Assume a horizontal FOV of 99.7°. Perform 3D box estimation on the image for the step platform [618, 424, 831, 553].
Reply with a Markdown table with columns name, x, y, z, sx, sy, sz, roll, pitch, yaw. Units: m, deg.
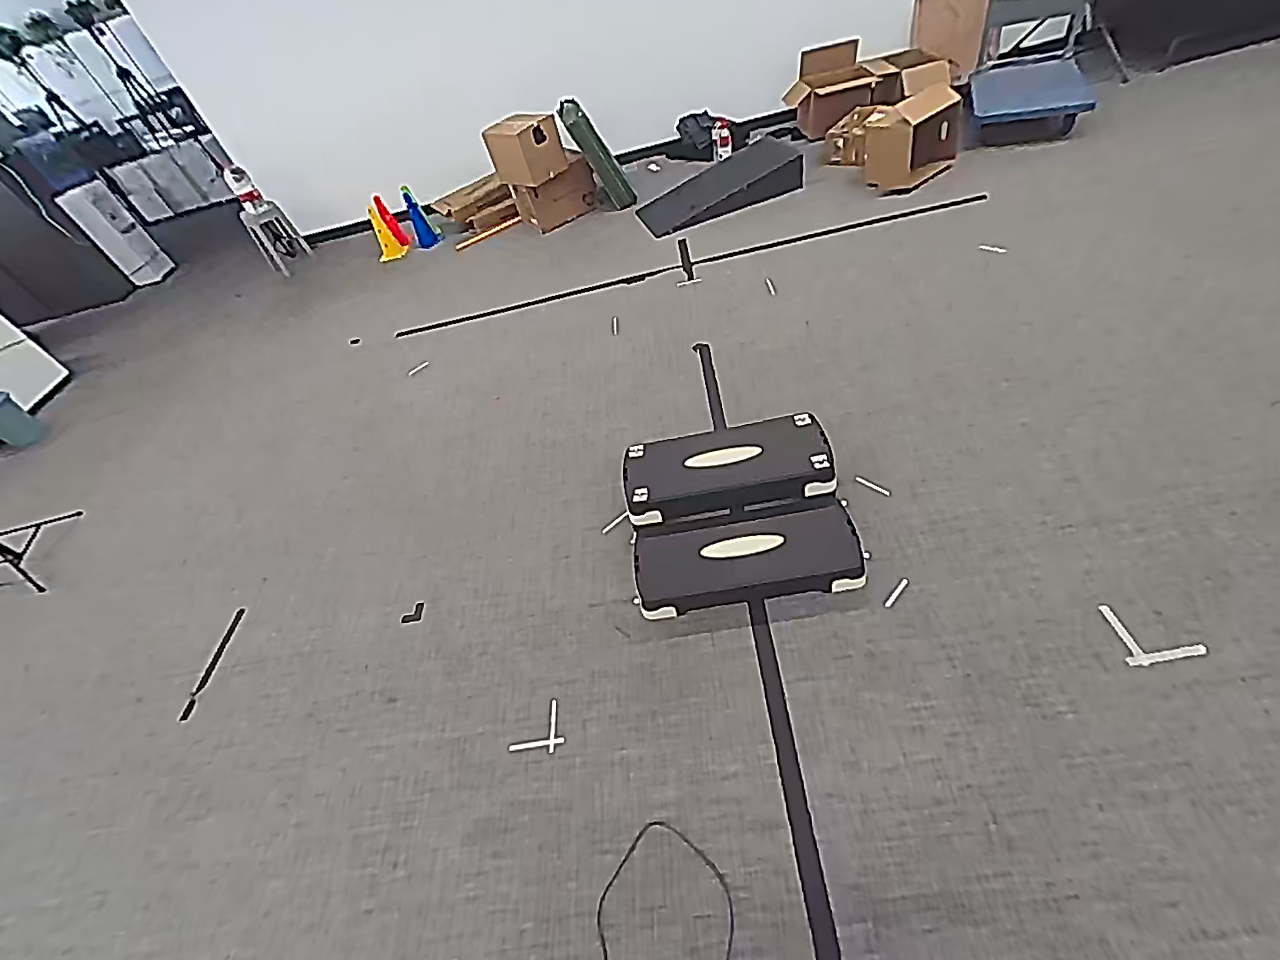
| name | x | y | z | sx | sy | sz | roll | pitch | yaw |
| --- | --- | --- | --- | --- | --- | --- | --- | --- | --- |
| step platform | 0.269 | 0.024 | 1.798 | 0.684 | 0.204 | 0.286 | -11 | 47 | 5 |
